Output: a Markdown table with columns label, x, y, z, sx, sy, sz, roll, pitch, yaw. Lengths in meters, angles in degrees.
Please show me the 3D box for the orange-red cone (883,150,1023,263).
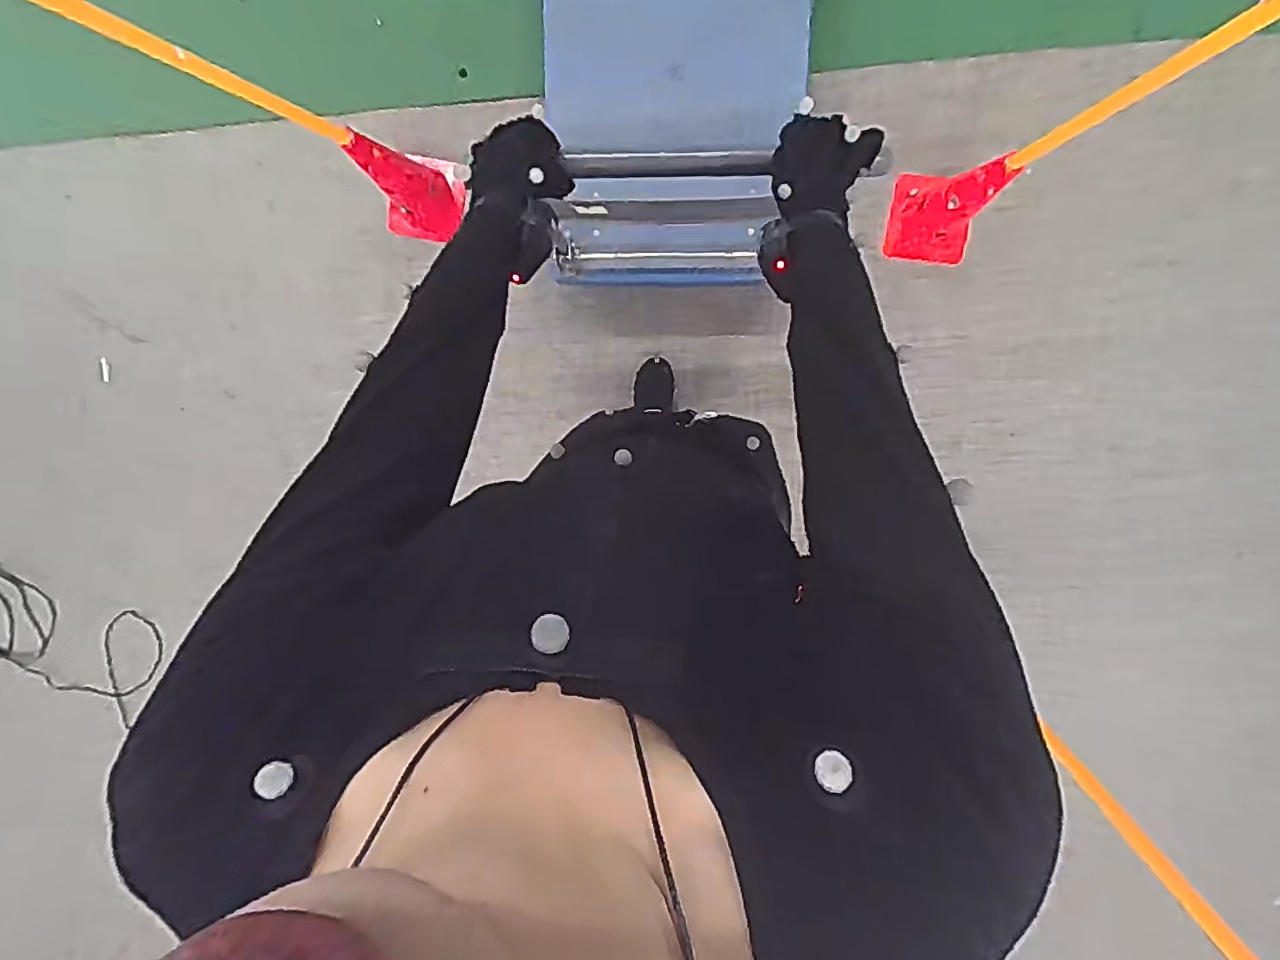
| label | x | y | z | sx | sy | sz | roll | pitch | yaw |
| --- | --- | --- | --- | --- | --- | --- | --- | --- | --- |
| orange-red cone | 0.707 | -0.621 | 1.176 | 0.198 | 0.360 | 0.199 | 9 | 101 | 3 |
